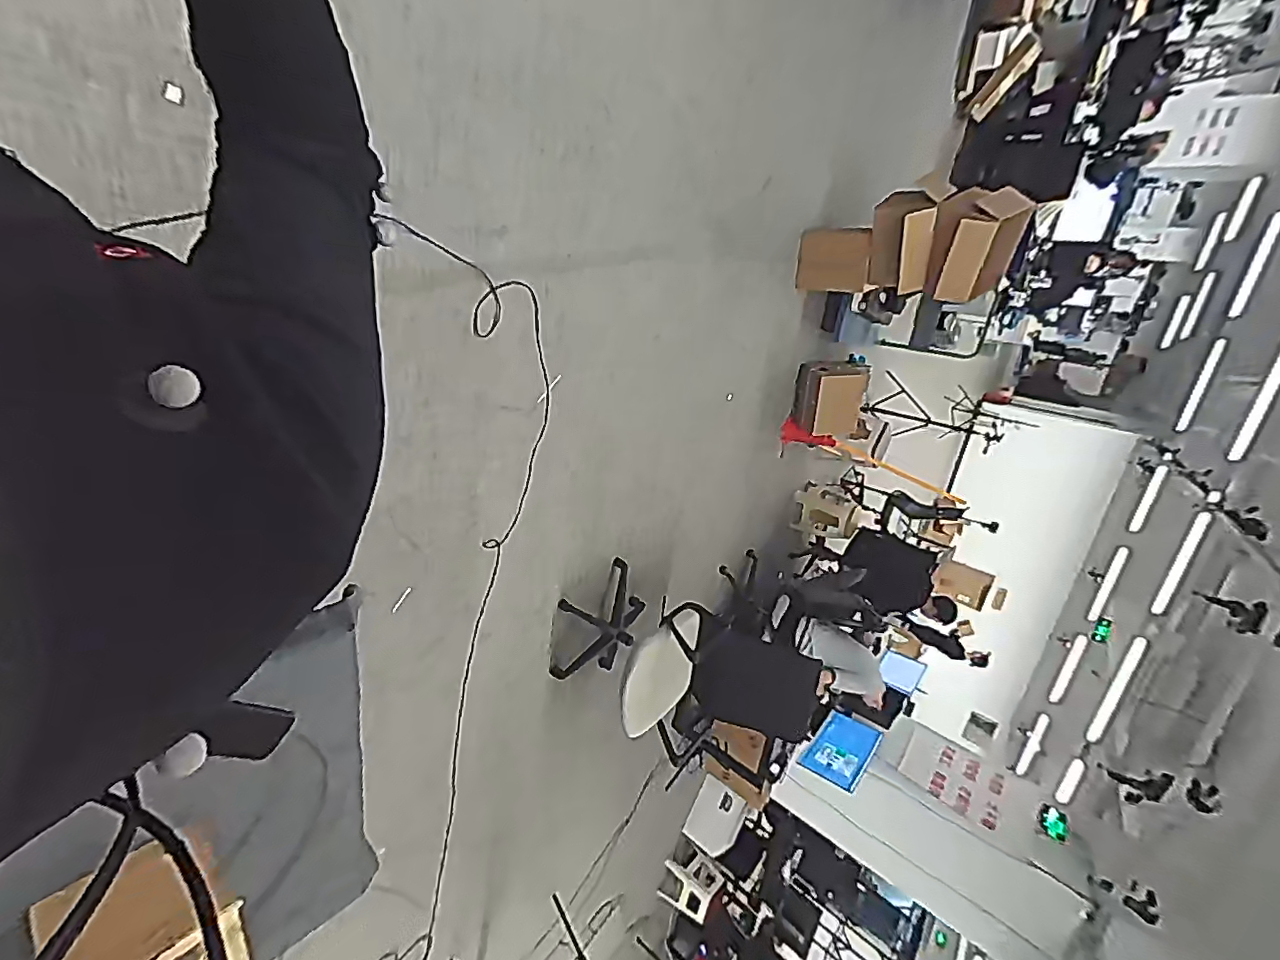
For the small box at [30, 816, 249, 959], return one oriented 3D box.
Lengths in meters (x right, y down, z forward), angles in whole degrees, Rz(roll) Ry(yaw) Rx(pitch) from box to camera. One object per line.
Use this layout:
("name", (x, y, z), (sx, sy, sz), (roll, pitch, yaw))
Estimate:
("small box", (-0.640, 0.580, 0.698), (0.168, 0.176, 0.179), (-18, 124, -48))
